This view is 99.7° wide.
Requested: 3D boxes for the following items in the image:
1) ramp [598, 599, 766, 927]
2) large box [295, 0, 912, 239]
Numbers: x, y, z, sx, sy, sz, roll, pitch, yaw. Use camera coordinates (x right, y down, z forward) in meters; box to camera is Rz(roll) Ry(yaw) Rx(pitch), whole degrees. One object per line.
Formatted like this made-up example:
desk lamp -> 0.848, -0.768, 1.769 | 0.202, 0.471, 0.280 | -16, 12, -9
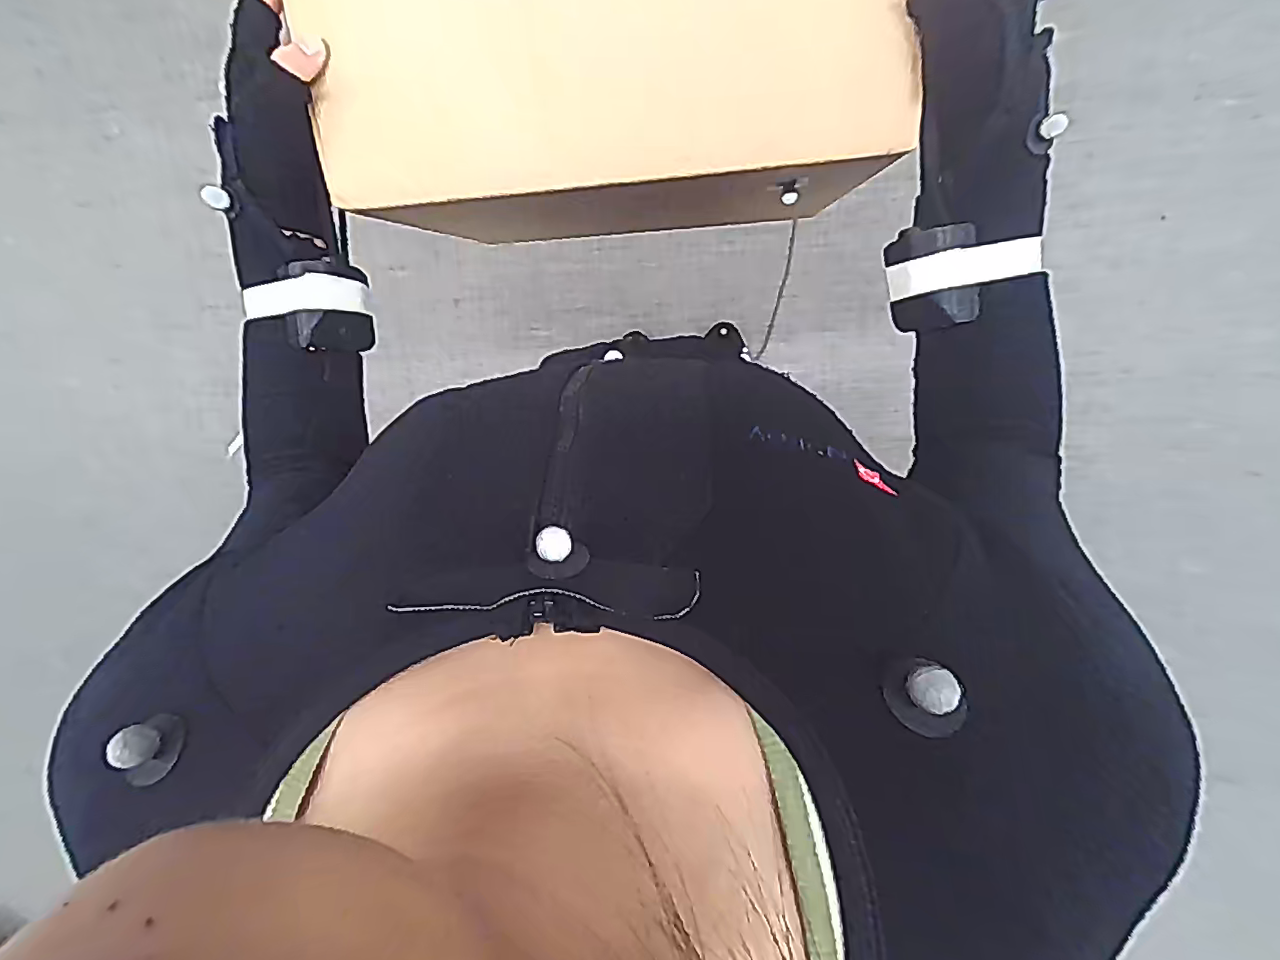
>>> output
ramp -> 0.125, 0.848, 1.620 | 0.509, 0.206, 0.991 | -2, 103, 7
large box -> -0.020, -0.403, 0.472 | 0.408, 0.320, 0.320 | -2, 108, 6
